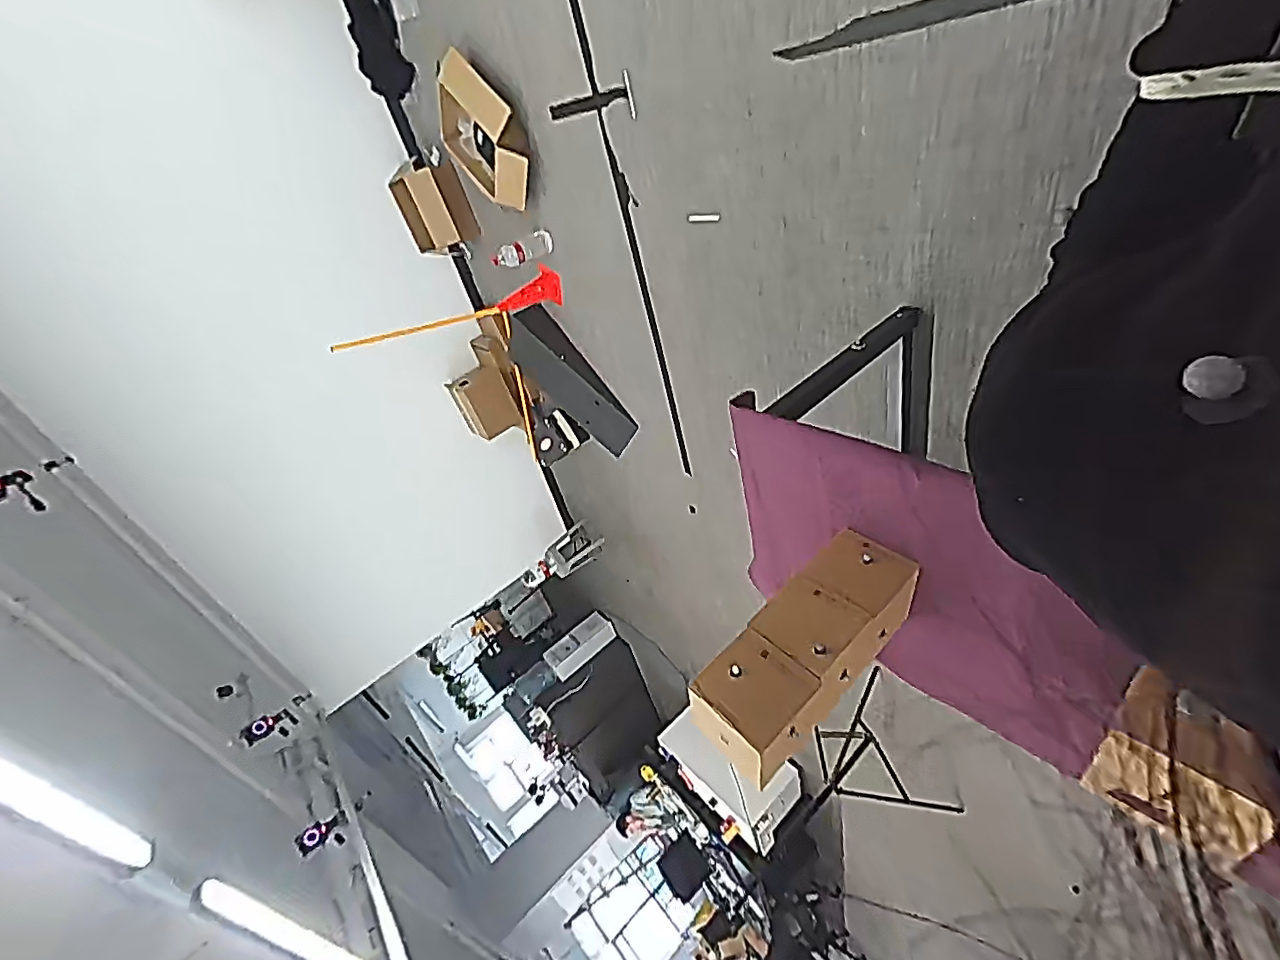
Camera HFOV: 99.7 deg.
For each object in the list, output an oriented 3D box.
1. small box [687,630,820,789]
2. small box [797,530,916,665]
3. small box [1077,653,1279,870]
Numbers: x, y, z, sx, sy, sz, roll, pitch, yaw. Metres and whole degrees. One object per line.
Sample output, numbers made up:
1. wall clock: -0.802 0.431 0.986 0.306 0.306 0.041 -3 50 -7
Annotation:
1. small box: 0.209 0.409 0.985 0.168 0.176 0.179 34 149 39
2. small box: 0.448 0.240 1.129 0.168 0.176 0.179 30 146 40
3. small box: 0.763 0.385 0.758 0.168 0.176 0.179 29 144 43
